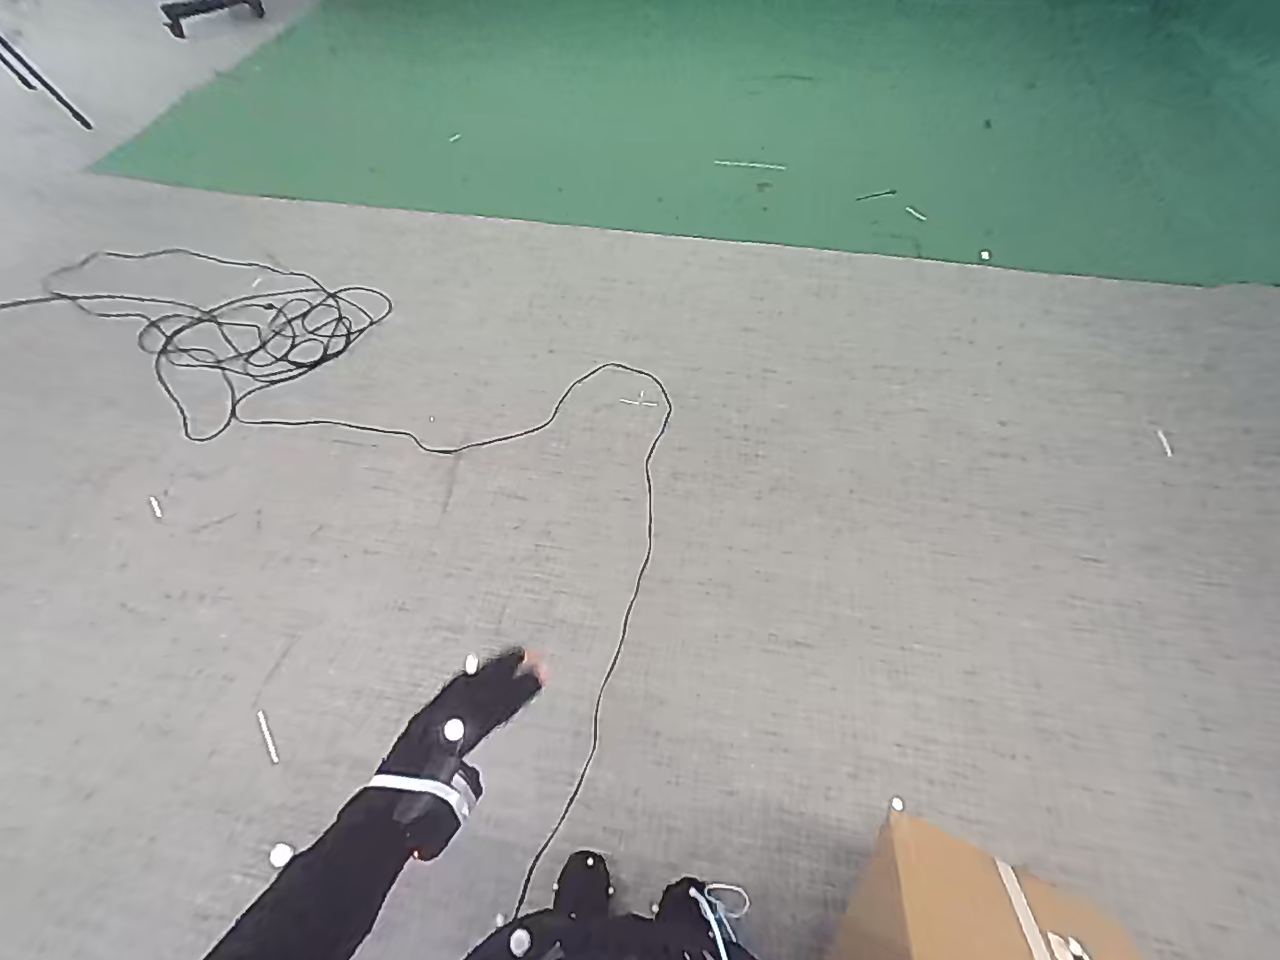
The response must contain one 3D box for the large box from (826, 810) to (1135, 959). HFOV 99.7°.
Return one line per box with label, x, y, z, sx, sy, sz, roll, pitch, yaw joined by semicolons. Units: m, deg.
large box;0.410;0.709;0.628;0.320;0.408;0.320;22;98;18
